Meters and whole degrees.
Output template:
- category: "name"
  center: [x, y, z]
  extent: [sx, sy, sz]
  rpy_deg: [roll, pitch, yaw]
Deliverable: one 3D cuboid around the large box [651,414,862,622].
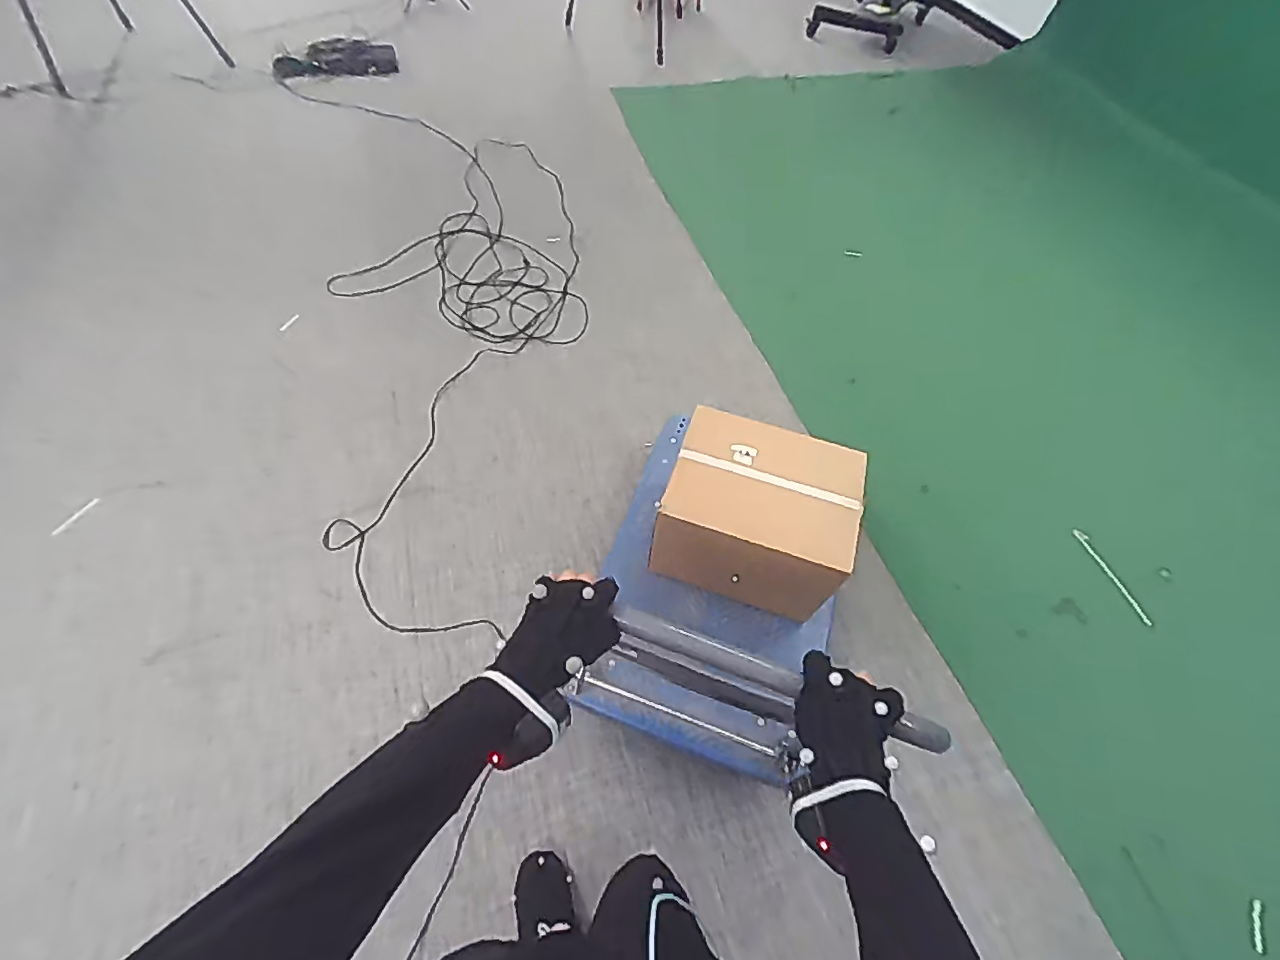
- category: "large box"
  center: [0.267, 0.099, 1.301]
  extent: [0.408, 0.320, 0.320]
  rpy_deg: [18, 57, 8]
